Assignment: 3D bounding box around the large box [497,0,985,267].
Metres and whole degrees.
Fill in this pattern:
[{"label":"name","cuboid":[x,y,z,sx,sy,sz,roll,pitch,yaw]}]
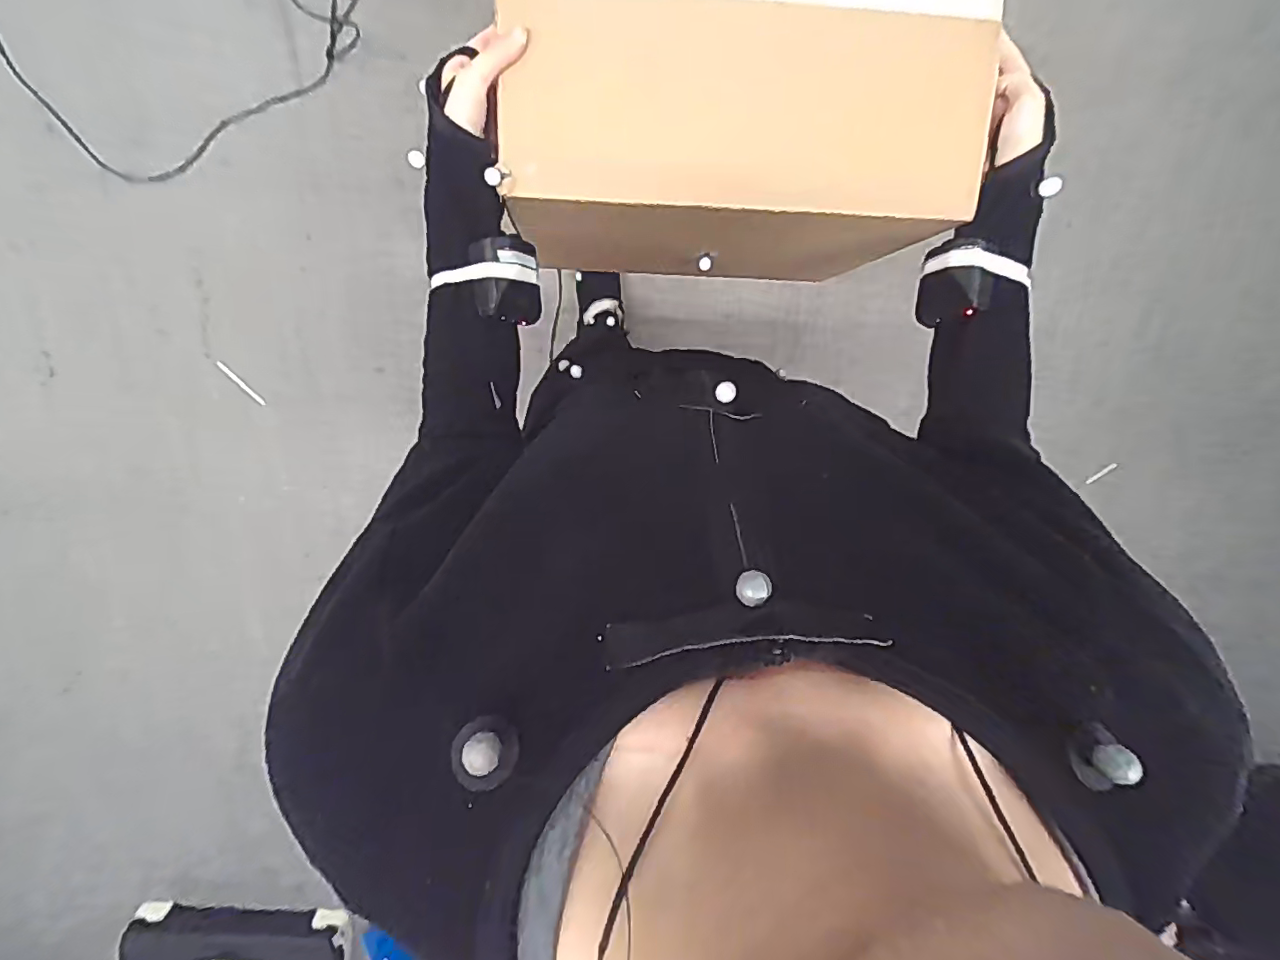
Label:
[{"label":"large box","cuboid":[0.076,-0.418,0.576,0.408,0.320,0.320,1,101,-5]}]
